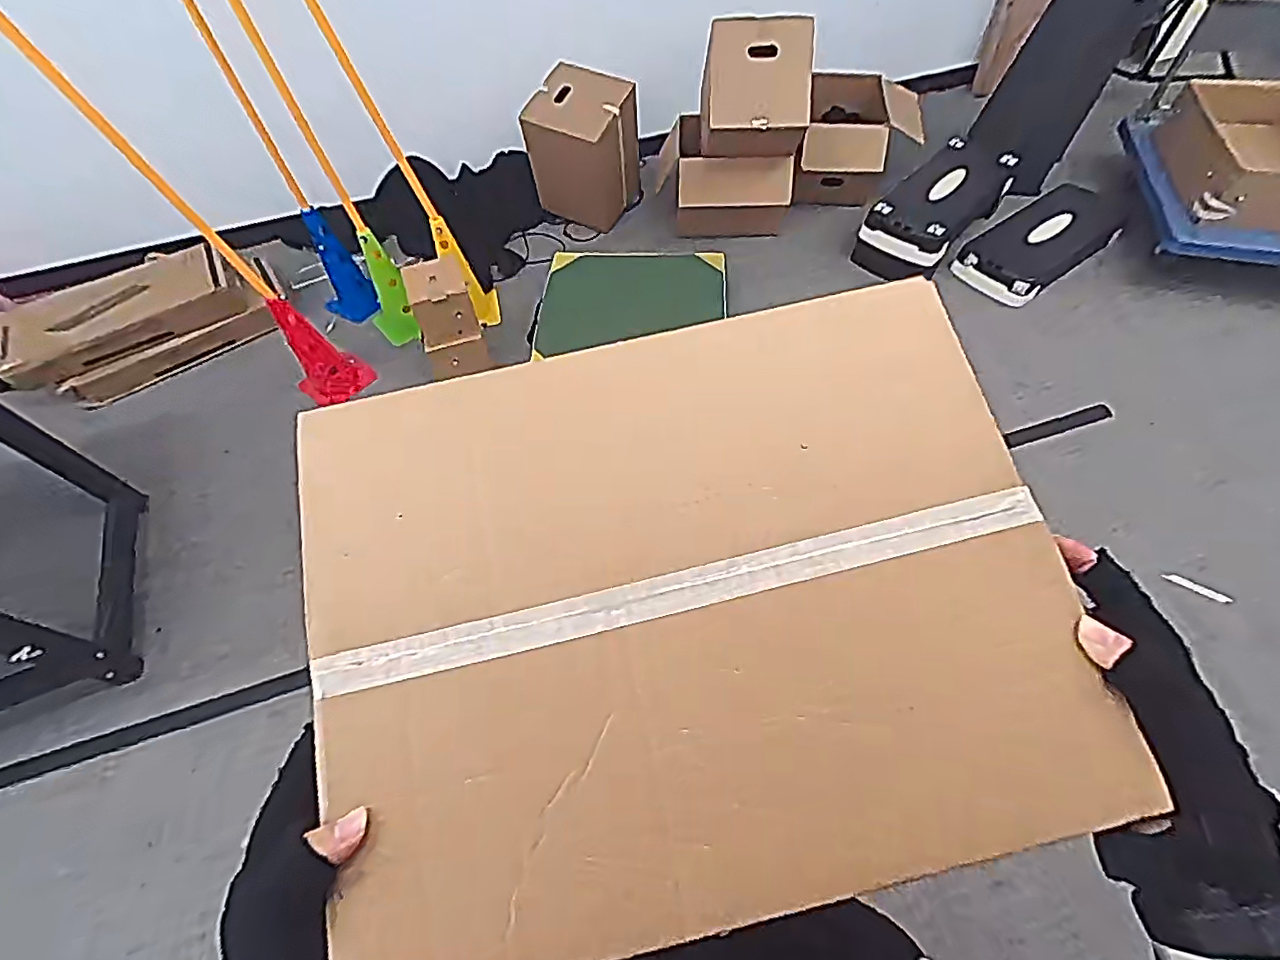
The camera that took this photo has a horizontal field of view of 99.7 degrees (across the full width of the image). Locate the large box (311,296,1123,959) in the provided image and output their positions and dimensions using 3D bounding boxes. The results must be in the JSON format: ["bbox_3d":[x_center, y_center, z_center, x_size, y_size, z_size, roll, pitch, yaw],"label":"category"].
[{"bbox_3d":[0.027,0.107,0.449,0.408,0.320,0.320,-14,73,-2],"label":"large box"}]
